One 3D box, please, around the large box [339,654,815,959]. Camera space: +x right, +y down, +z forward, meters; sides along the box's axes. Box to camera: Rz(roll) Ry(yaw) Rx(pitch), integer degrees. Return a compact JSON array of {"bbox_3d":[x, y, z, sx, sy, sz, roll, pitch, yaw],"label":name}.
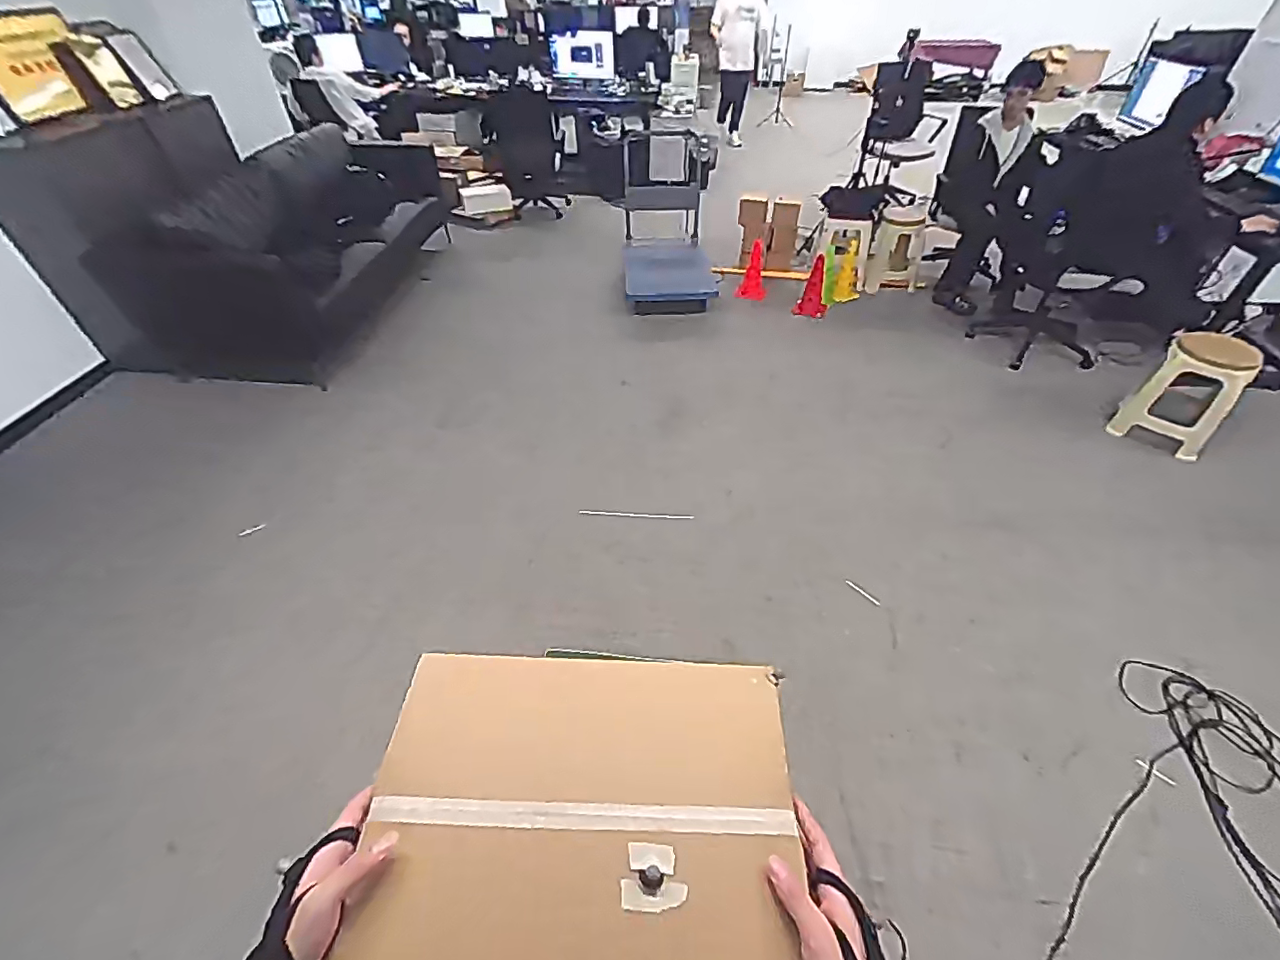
[{"bbox_3d":[-0.054,0.423,0.634,0.408,0.320,0.320,2,46,0],"label":"large box"}]
